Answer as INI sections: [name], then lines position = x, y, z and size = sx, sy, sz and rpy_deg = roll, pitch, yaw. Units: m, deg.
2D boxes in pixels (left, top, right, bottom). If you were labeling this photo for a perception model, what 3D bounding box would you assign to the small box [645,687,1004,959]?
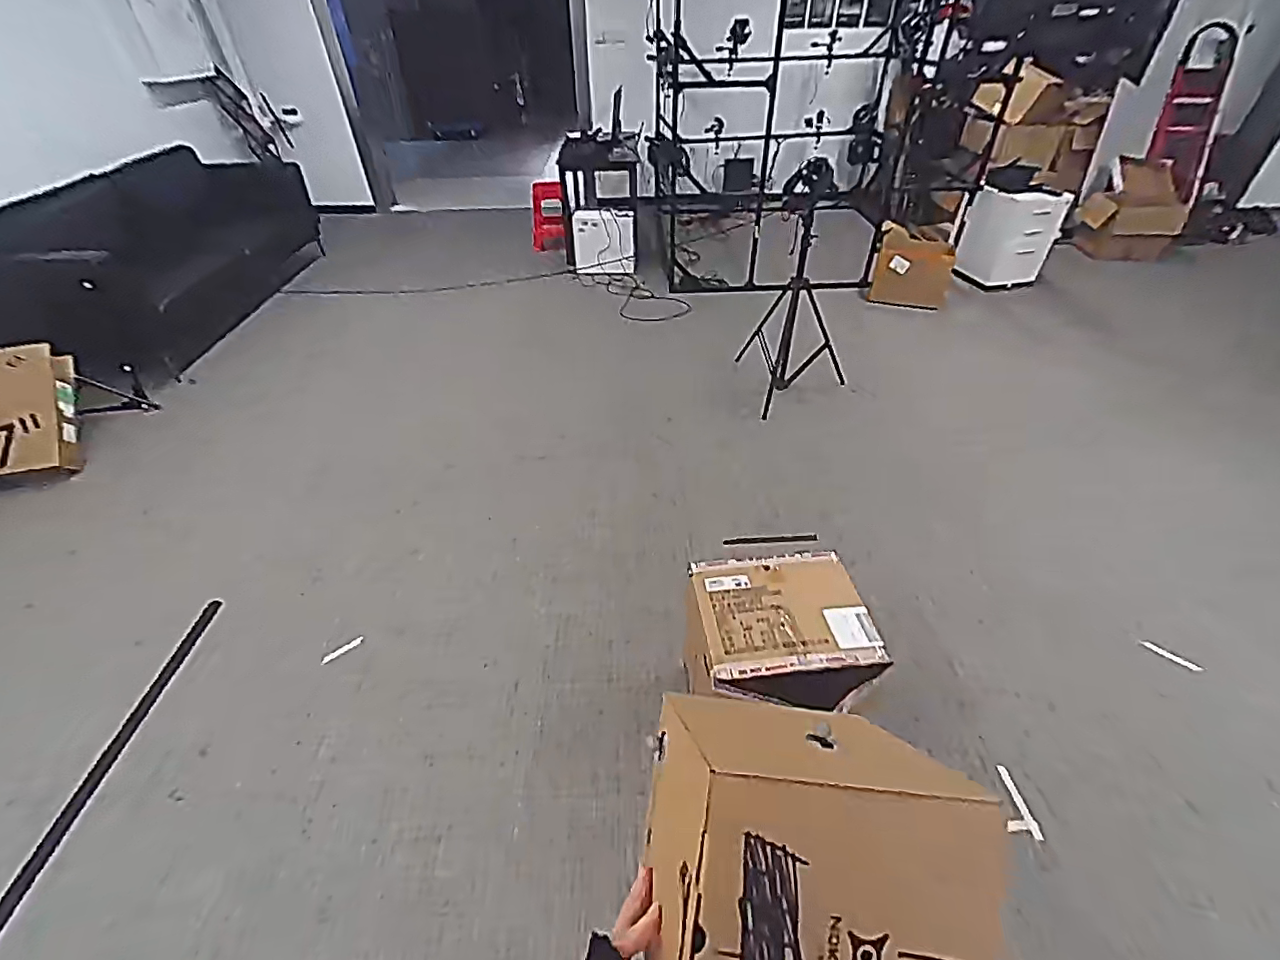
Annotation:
[small box]
position = 0.103, 0.249, 0.367
size = 0.179, 0.176, 0.168
rpy_deg = 8, 82, -5
